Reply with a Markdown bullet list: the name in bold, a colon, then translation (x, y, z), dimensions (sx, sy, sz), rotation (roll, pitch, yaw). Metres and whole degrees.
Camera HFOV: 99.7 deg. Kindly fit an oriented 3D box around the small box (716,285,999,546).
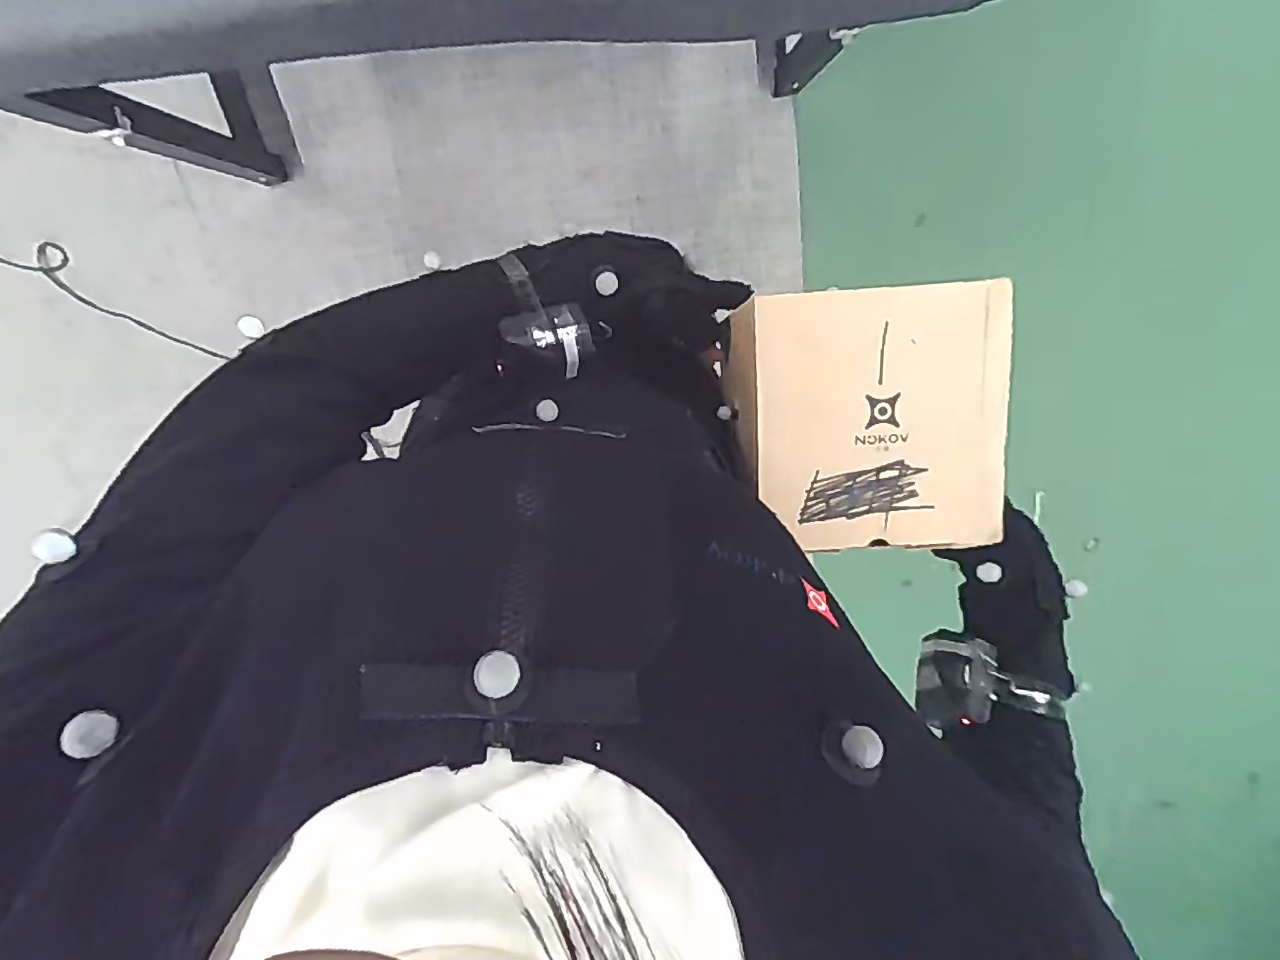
- **small box**: translation (0.156, -0.054, 0.446), dimensions (0.168, 0.176, 0.179), rotation (-2, 100, 1)
